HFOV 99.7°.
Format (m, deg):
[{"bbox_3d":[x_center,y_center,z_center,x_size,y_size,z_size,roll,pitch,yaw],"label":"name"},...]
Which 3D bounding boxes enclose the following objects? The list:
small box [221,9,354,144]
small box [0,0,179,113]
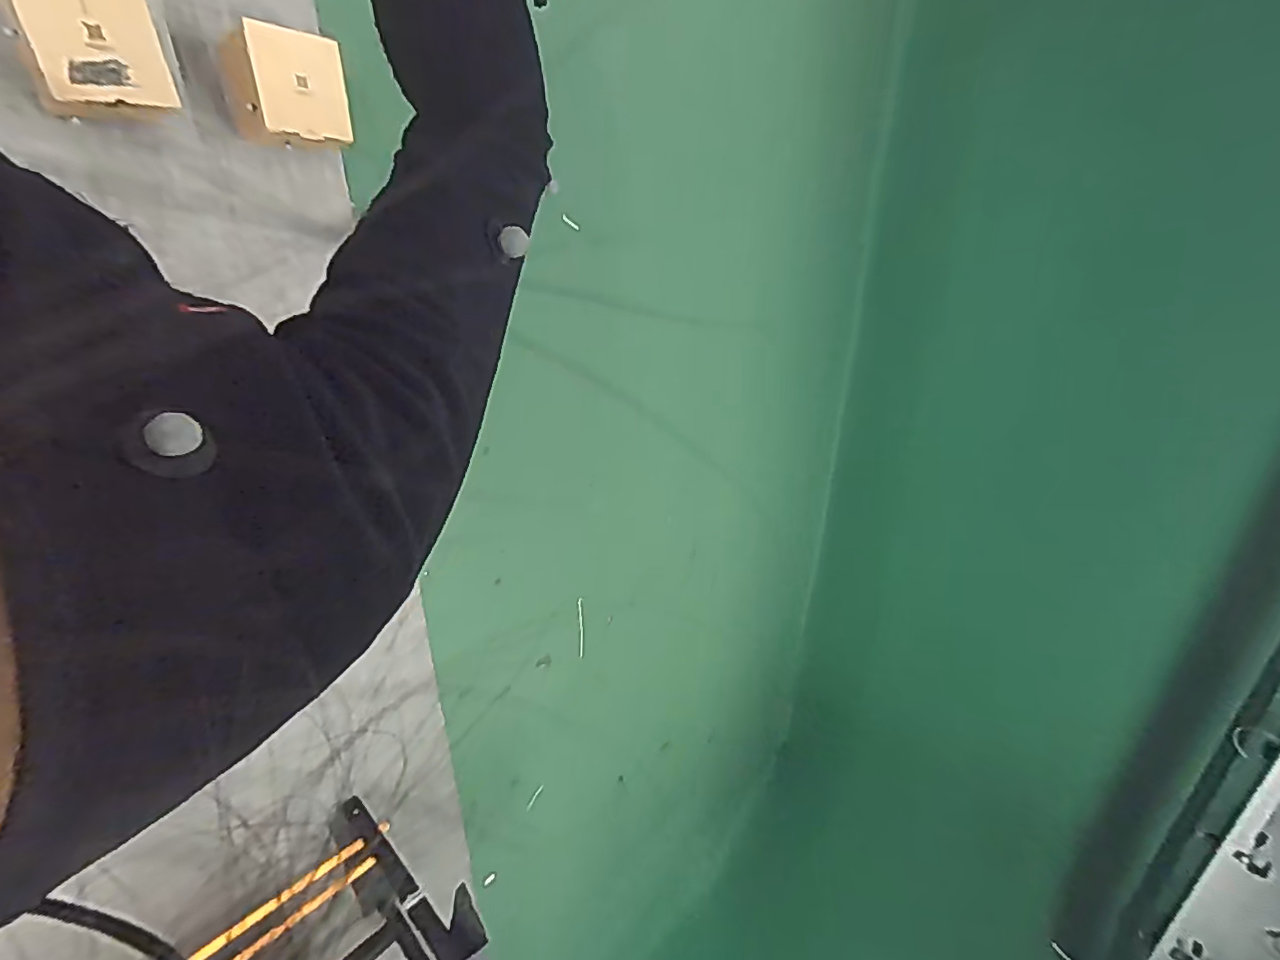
[{"bbox_3d":[-0.712,-0.801,1.094,0.168,0.176,0.179,-23,123,-42],"label":"small box"},{"bbox_3d":[-0.908,-0.722,0.890,0.168,0.176,0.179,-28,125,-41],"label":"small box"}]
